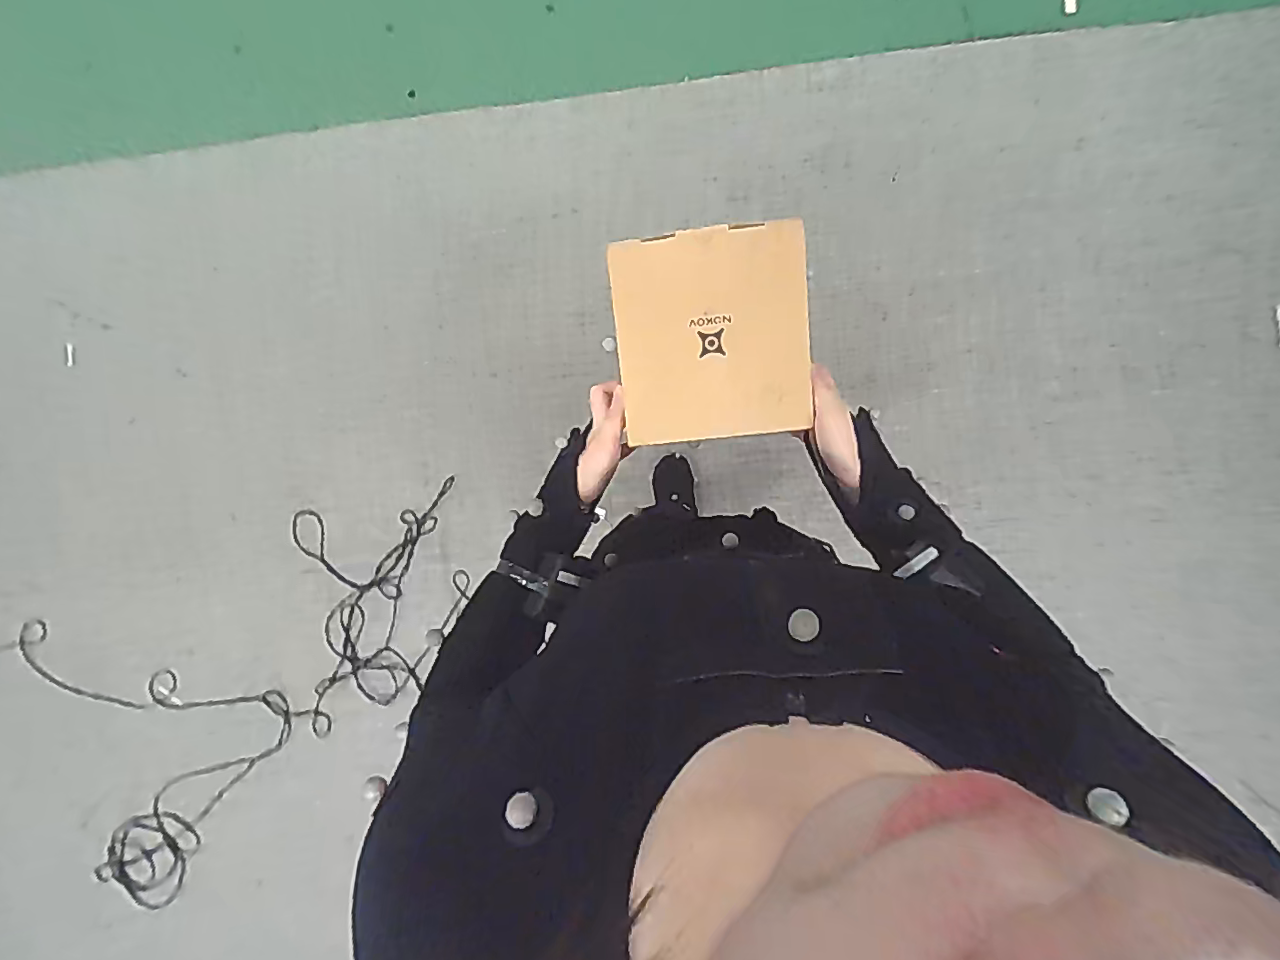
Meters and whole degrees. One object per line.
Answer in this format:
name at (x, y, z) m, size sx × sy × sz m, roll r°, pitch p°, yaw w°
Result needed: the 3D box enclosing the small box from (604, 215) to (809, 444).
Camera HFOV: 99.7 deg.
small box at (0.065, -0.139, 0.537) m, size 0.168 × 0.176 × 0.179 m, roll -6°, pitch 100°, yaw 5°
